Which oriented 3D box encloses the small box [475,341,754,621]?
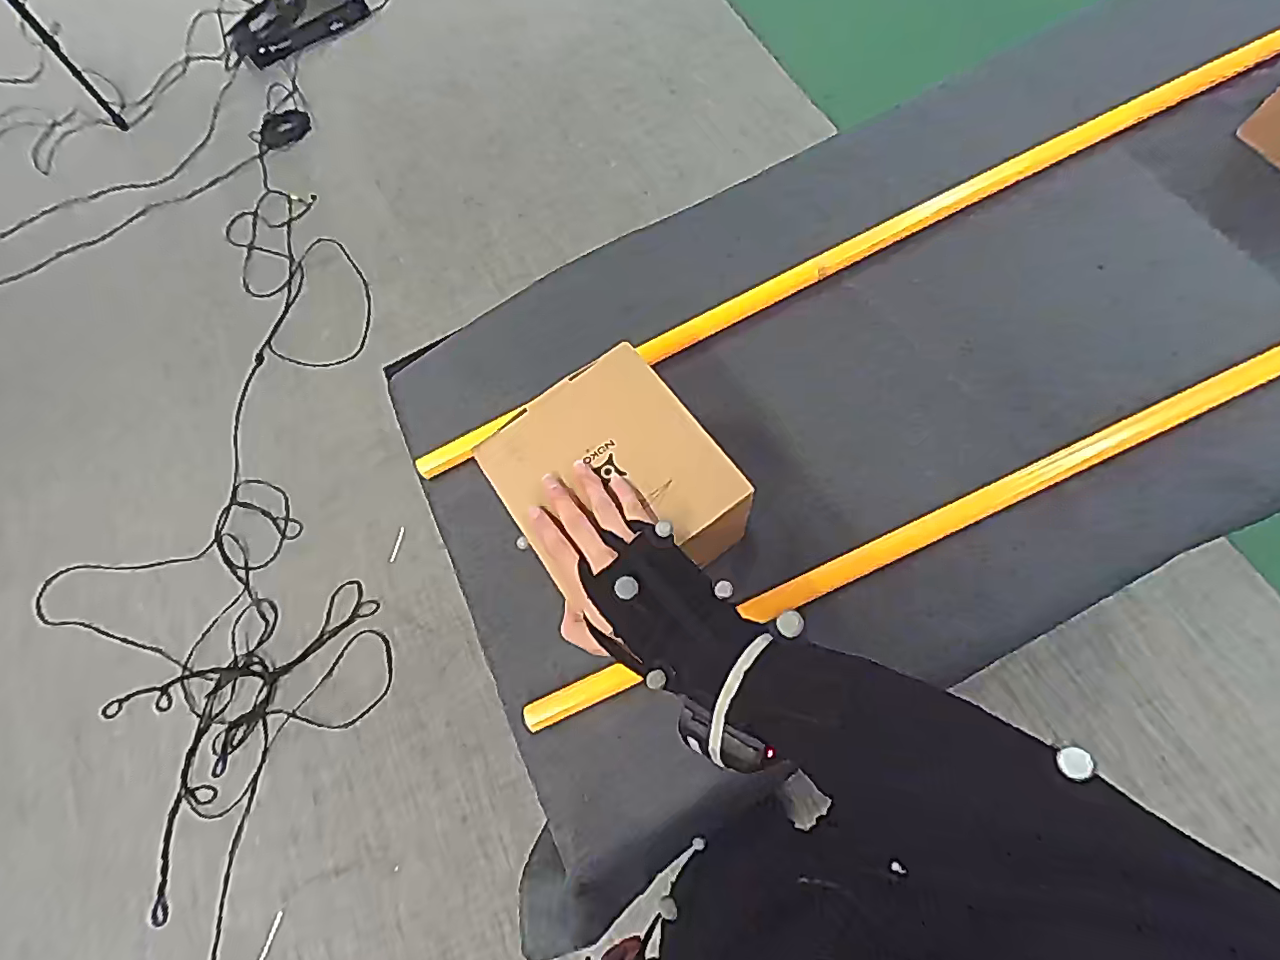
[{"bbox_3d":[-0.017,0.014,0.507,0.168,0.176,0.179,-37,71,-5],"label":"small box"}]
